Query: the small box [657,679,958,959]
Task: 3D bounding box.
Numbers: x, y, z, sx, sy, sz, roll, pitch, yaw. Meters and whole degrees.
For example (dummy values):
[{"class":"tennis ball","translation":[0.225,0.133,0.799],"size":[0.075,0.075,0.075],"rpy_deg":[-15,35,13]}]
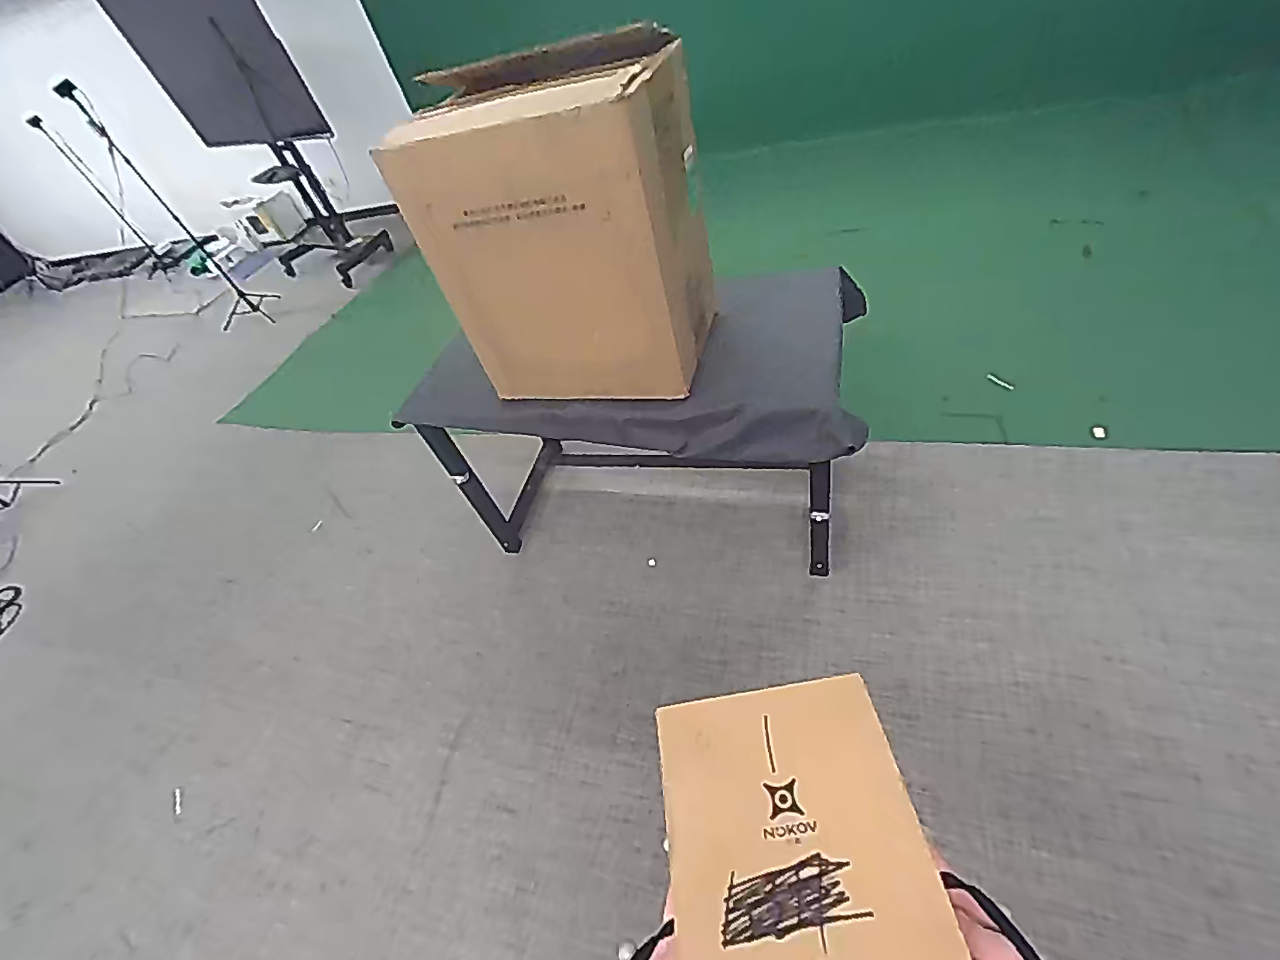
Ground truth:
[{"class":"small box","translation":[0.115,0.285,0.421],"size":[0.168,0.176,0.179],"rpy_deg":[-12,42,7]}]
